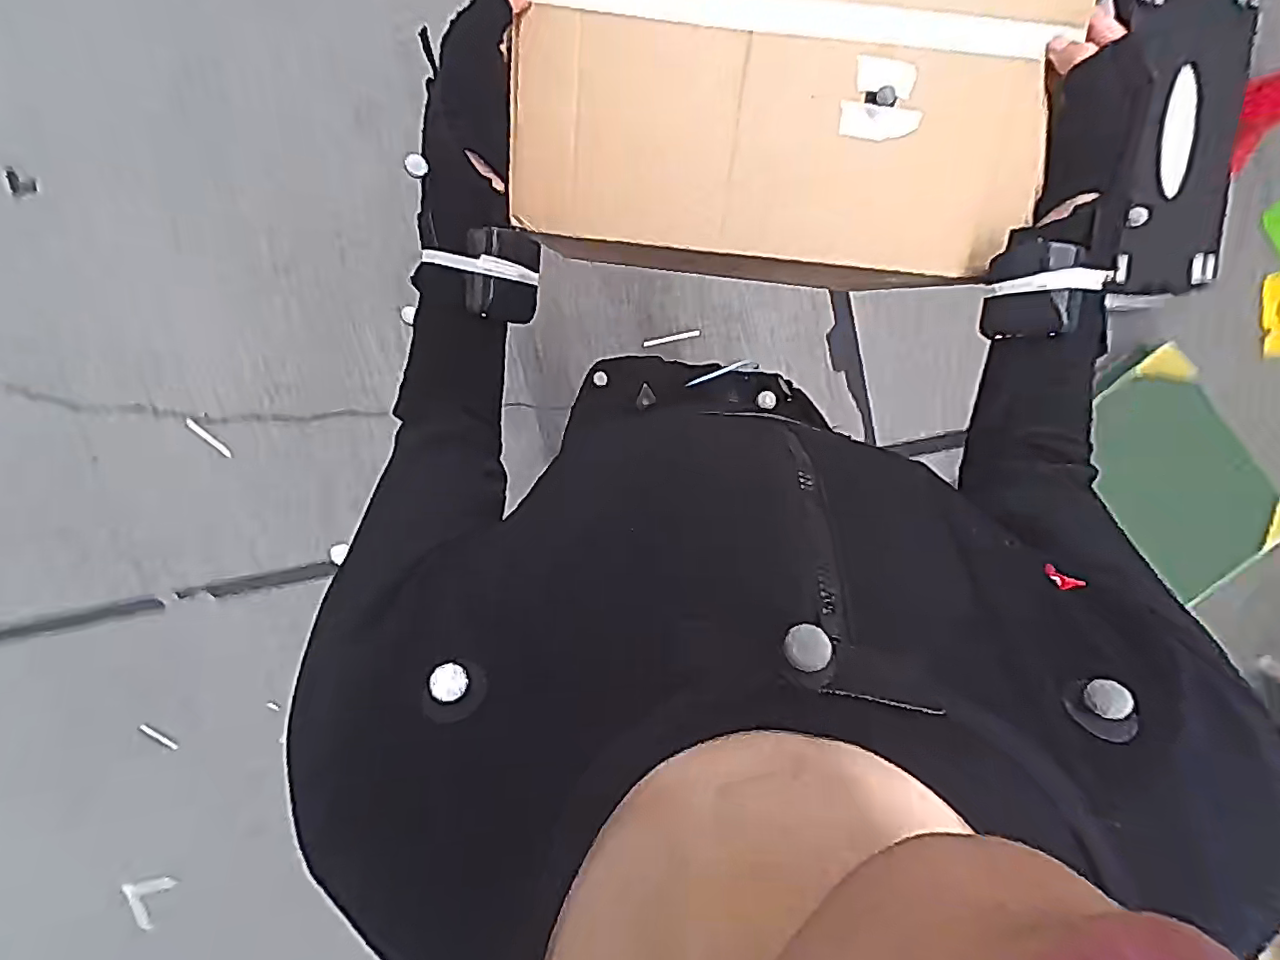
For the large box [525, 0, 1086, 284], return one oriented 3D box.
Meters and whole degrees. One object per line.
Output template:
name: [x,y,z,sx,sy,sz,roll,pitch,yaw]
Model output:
large box: [0.116,-0.379,0.533,0.408,0.320,0.320,6,109,-3]
